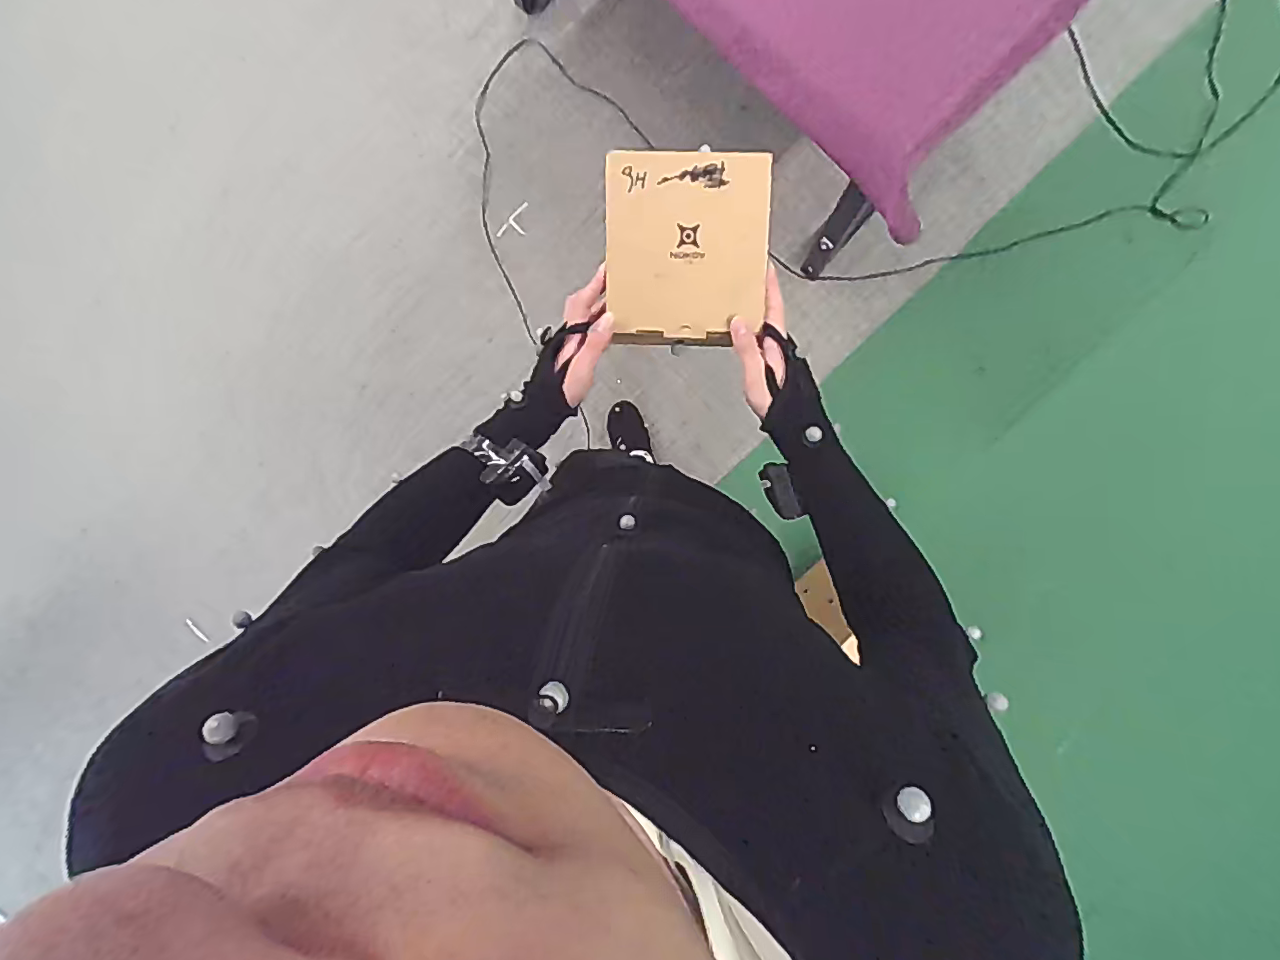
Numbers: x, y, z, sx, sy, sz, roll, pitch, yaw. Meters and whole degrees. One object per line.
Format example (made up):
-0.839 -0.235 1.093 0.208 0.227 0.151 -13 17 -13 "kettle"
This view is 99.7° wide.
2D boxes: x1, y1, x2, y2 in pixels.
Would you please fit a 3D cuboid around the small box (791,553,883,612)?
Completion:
0.544 0.332 1.518 0.179 0.176 0.168 -45 89 8 "small box"

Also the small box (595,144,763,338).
0.038 -0.257 0.621 0.168 0.176 0.179 0 101 -1 "small box"
